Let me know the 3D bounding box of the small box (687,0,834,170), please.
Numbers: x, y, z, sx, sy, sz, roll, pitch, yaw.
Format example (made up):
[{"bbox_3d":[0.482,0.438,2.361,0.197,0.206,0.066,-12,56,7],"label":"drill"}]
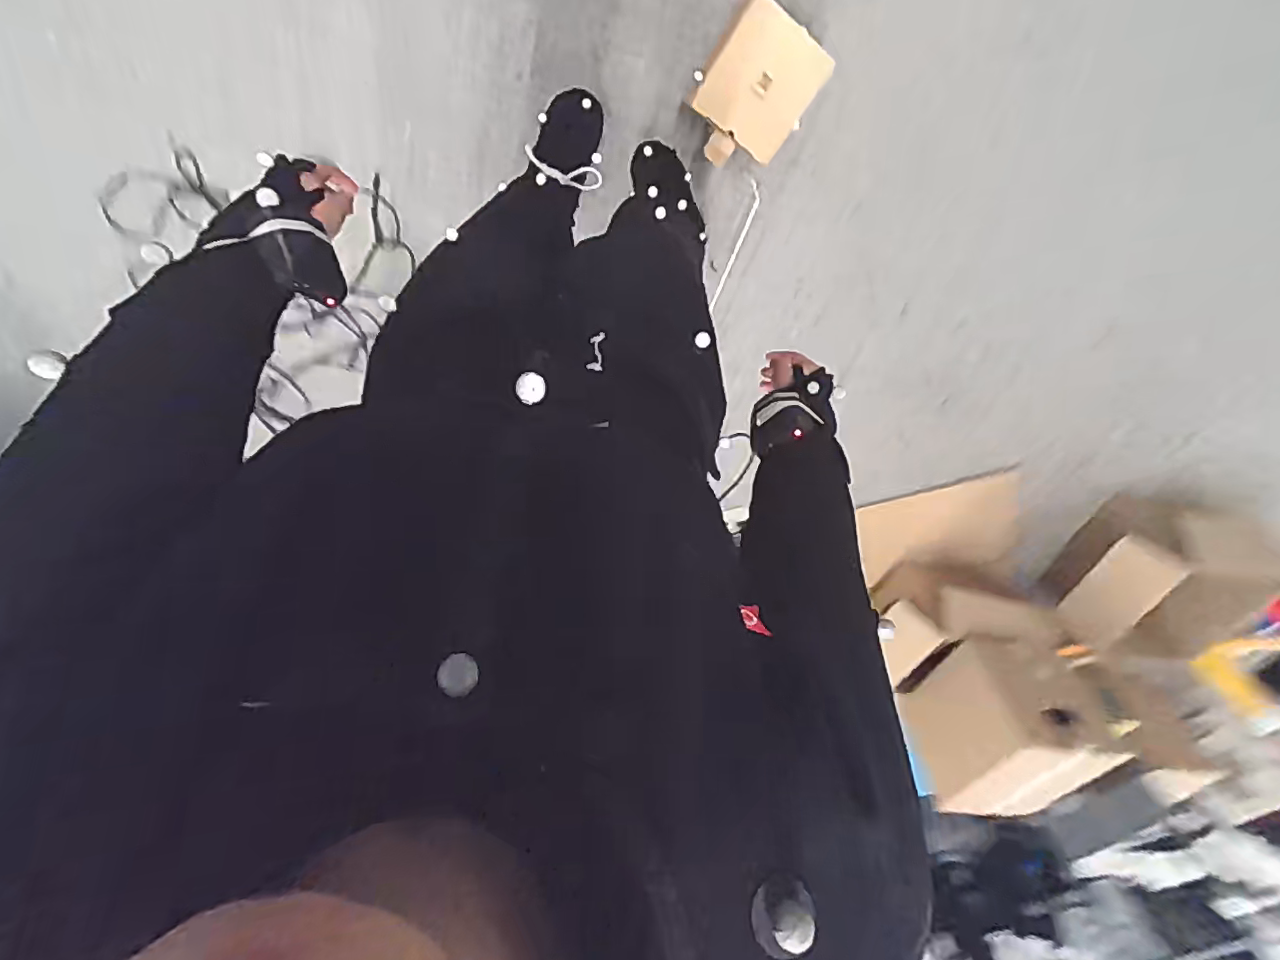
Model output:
[{"bbox_3d":[0.195,-0.684,0.936,0.168,0.176,0.179,27,124,-21],"label":"small box"}]
